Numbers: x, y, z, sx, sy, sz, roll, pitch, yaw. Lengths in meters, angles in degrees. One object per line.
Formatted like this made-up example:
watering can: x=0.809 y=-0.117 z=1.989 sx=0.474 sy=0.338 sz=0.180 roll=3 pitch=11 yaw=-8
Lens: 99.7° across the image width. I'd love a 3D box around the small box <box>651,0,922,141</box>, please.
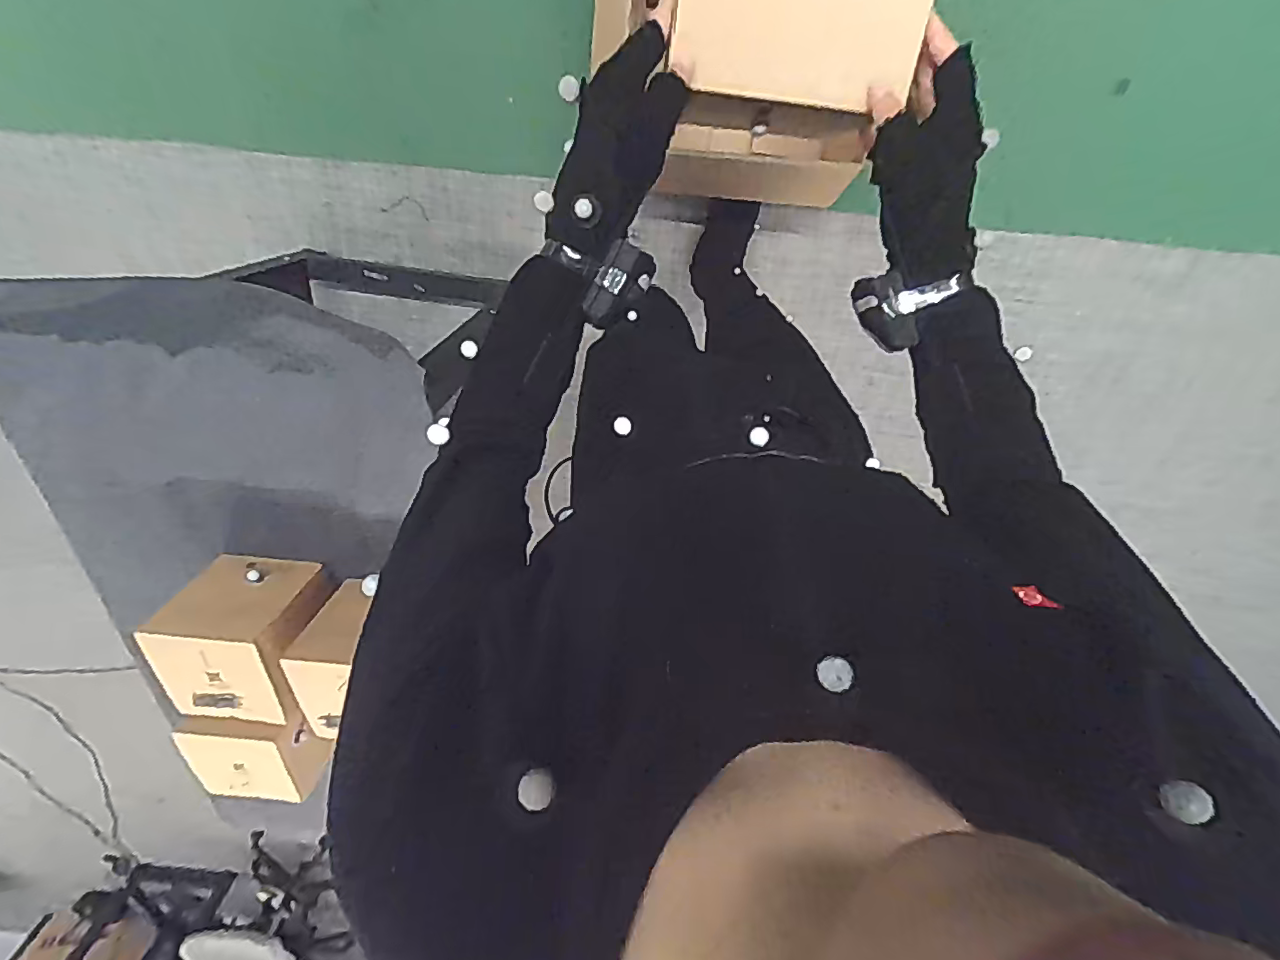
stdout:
small box: x=0.106 y=-0.379 z=0.428 sx=0.179 sy=0.176 sz=0.168 roll=5 pitch=117 yaw=-3
